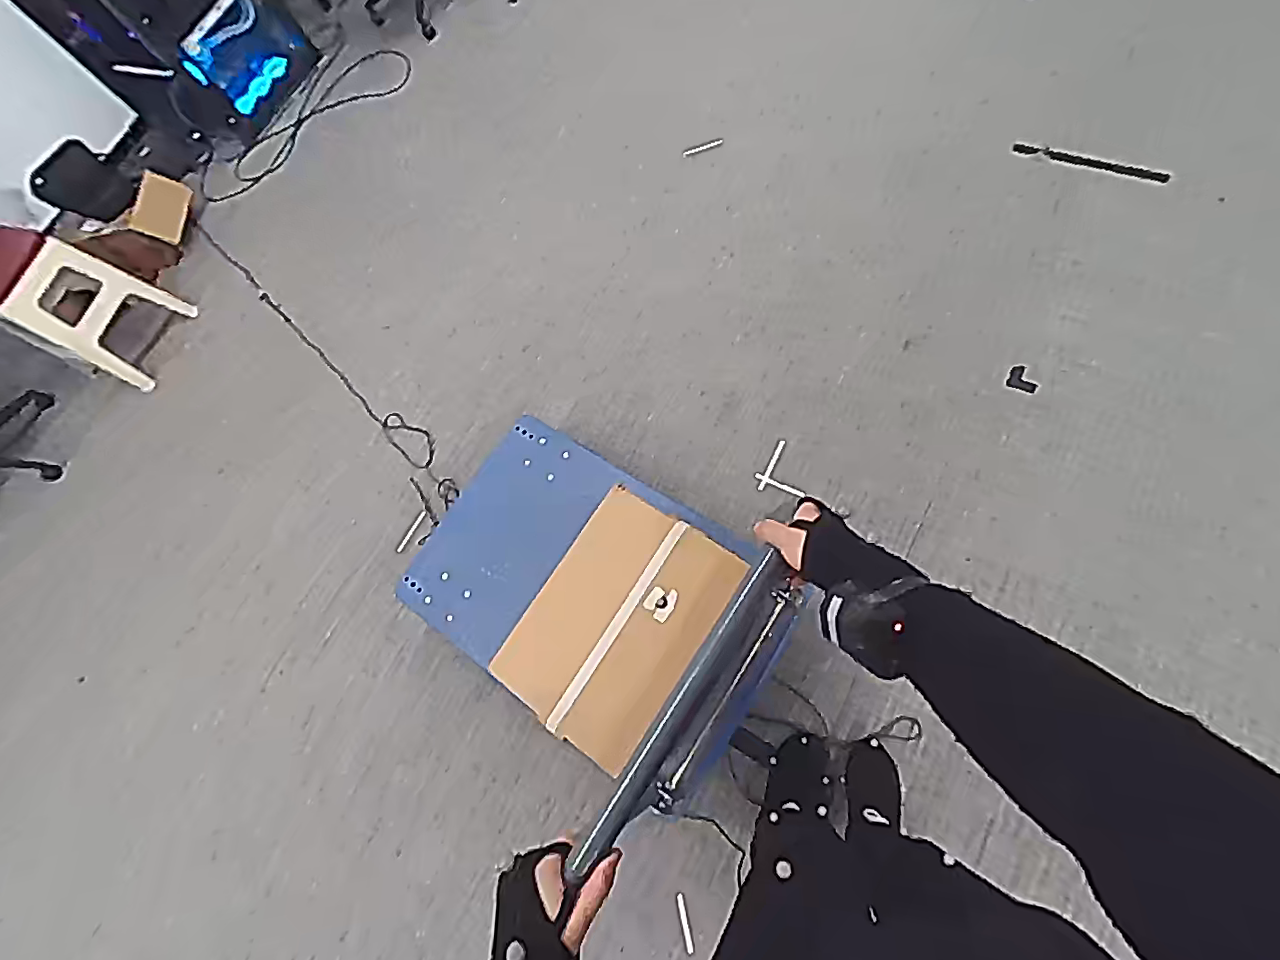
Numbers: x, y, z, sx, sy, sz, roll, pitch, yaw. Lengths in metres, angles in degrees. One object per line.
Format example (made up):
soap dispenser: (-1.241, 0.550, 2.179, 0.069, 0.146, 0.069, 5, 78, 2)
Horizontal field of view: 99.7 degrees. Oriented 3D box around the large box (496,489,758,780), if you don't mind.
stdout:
large box: (0.000, 0.299, 1.075, 0.320, 0.320, 0.408, 31, 79, 21)
